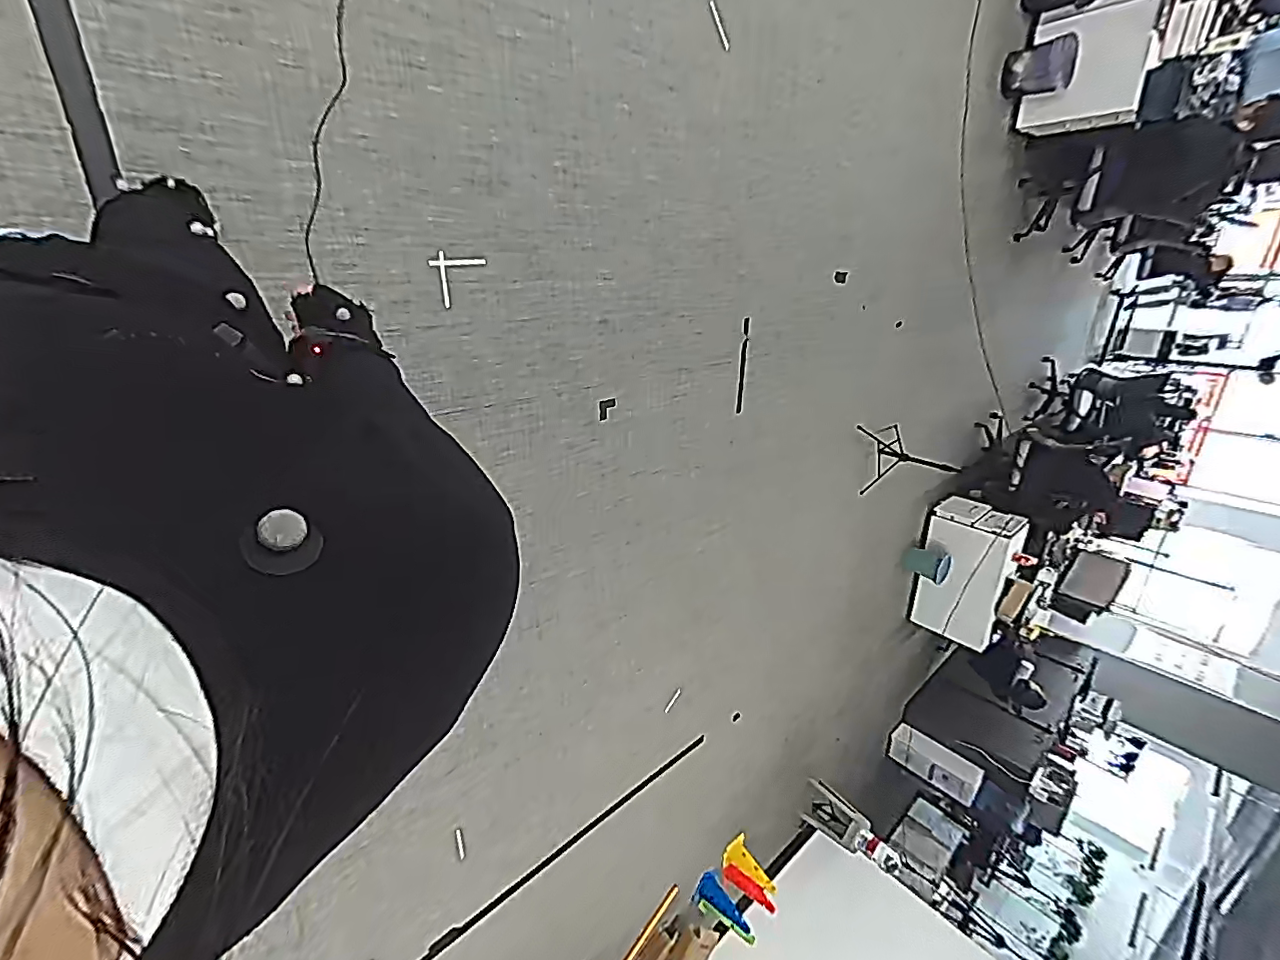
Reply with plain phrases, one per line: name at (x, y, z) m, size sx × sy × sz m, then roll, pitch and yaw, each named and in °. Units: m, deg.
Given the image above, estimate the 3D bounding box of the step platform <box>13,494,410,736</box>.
step platform at (-0.888, 0.266, 1.221) m, size 0.684 × 0.204 × 0.286 m, roll -19°, pitch 118°, yaw -36°
